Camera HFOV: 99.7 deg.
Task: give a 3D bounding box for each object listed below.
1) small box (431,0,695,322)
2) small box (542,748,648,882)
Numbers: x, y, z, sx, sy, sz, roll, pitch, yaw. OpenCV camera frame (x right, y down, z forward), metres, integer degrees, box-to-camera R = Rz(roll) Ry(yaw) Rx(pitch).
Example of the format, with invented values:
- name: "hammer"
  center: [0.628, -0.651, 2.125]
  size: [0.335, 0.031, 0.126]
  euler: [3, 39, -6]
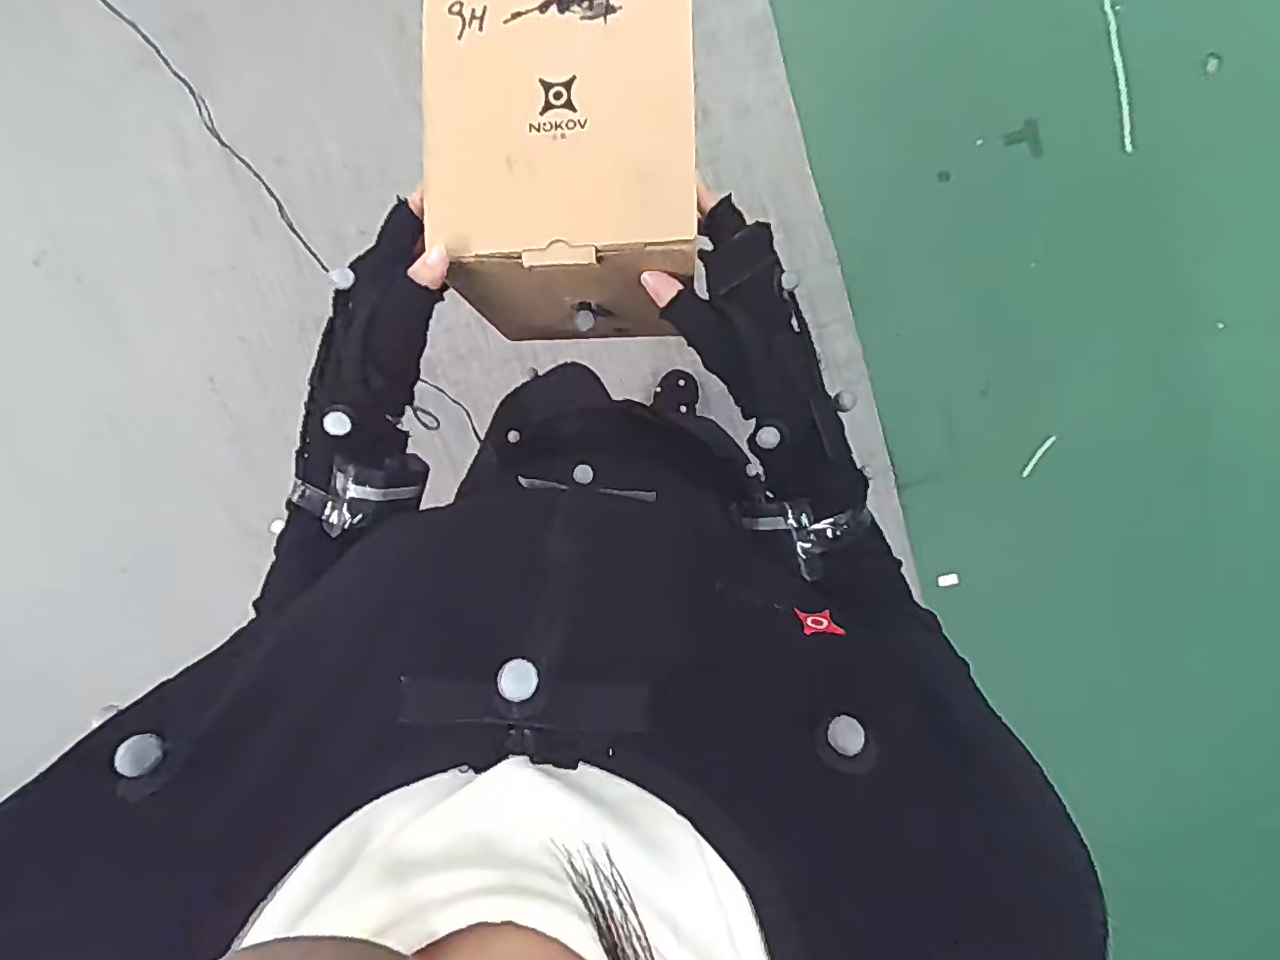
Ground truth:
- name: "small box"
  center: [-0.042, -0.227, 0.411]
  size: [0.168, 0.176, 0.179]
  euler: [-1, 88, 4]
- name: "small box"
  center: [-0.092, 0.735, 1.200]
  size: [0.179, 0.176, 0.168]
  euler: [-19, 98, 8]
